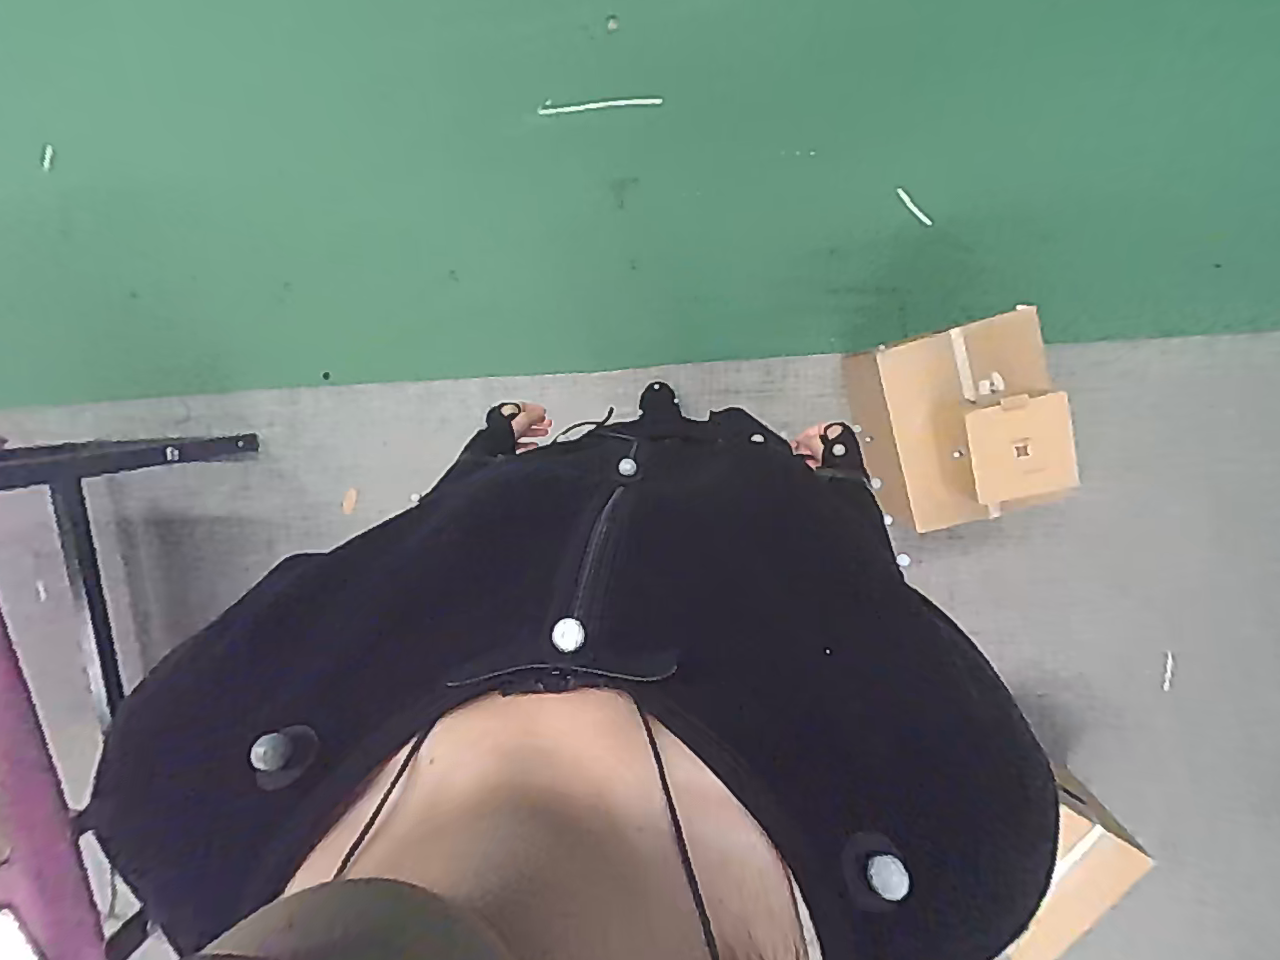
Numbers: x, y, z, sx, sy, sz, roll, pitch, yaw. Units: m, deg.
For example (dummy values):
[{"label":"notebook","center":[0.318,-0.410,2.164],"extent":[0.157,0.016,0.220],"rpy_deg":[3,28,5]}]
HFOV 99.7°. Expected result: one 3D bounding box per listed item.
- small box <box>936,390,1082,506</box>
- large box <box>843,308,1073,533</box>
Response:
[{"label":"small box","center":[0.681,-0.066,1.017],"extent":[0.168,0.176,0.179],"rpy_deg":[-12,99,11]},{"label":"large box","center":[0.704,-0.134,1.254],"extent":[0.320,0.320,0.408],"rpy_deg":[-16,96,9]}]
